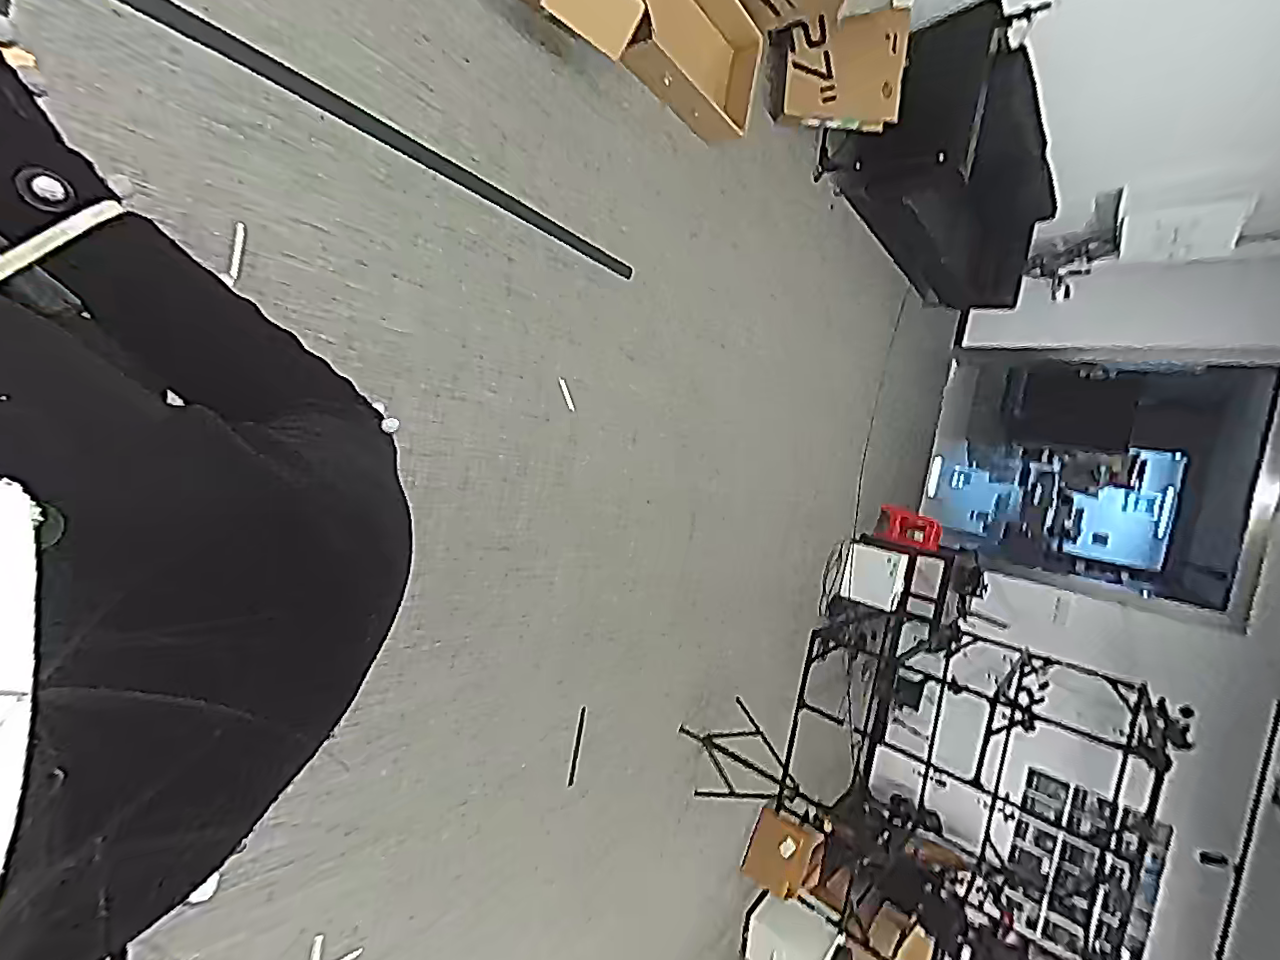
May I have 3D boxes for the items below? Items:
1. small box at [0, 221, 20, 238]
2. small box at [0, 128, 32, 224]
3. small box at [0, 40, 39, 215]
[{"bbox_3d":[-1.095,-0.499,0.845,0.168,0.176,0.179,1,101,-48],"label":"small box"},{"bbox_3d":[-0.972,-0.470,0.739,0.179,0.176,0.168,7,95,-50],"label":"small box"},{"bbox_3d":[-0.847,-0.443,0.635,0.168,0.176,0.179,12,91,-49],"label":"small box"}]
